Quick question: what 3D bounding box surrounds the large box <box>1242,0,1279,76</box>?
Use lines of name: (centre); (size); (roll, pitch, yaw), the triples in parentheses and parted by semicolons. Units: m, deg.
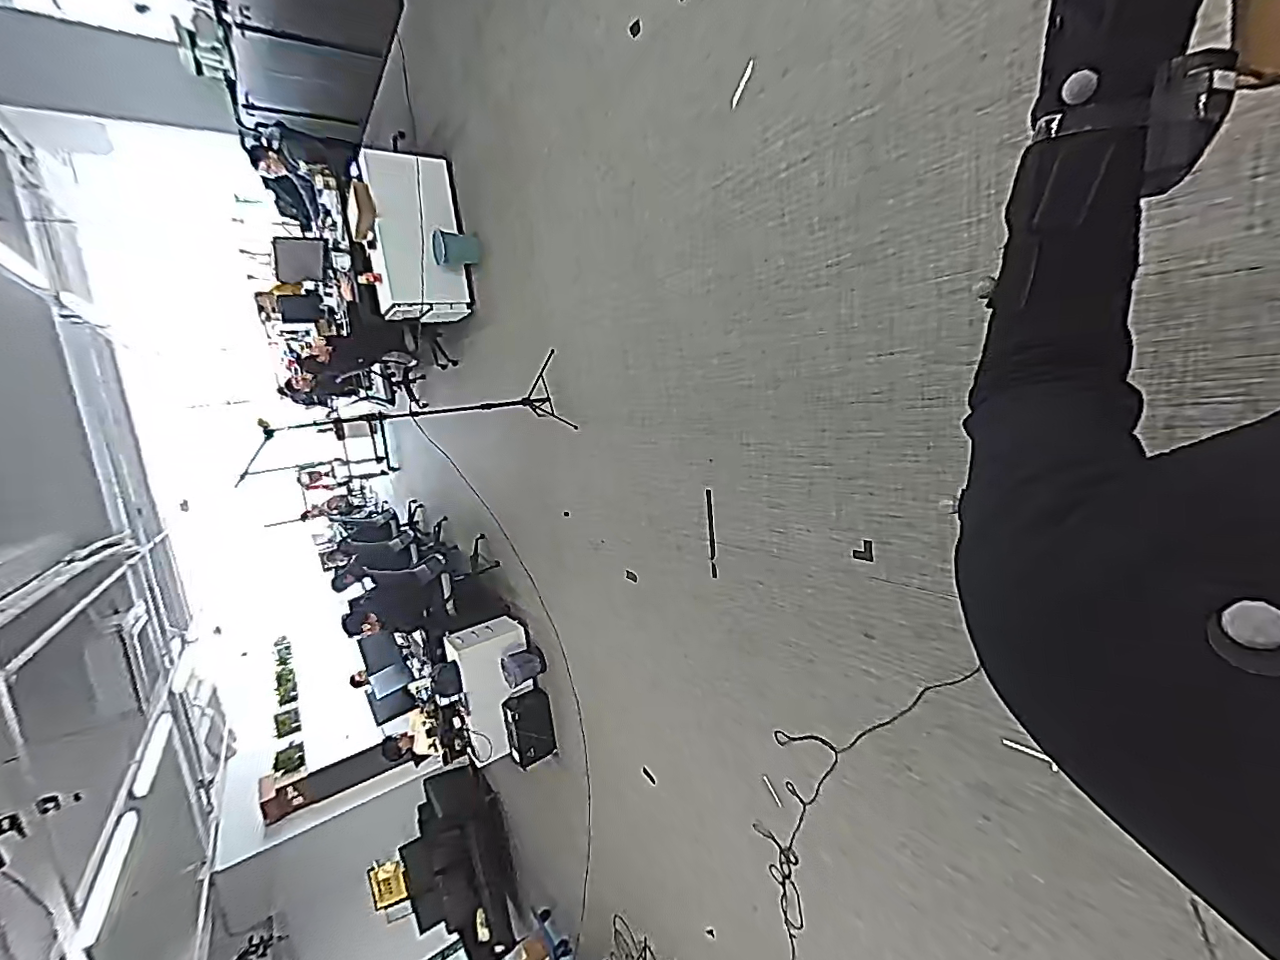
large box: (0.527, -0.413, 0.184); (0.408, 0.320, 0.320); (7, 120, 54)
